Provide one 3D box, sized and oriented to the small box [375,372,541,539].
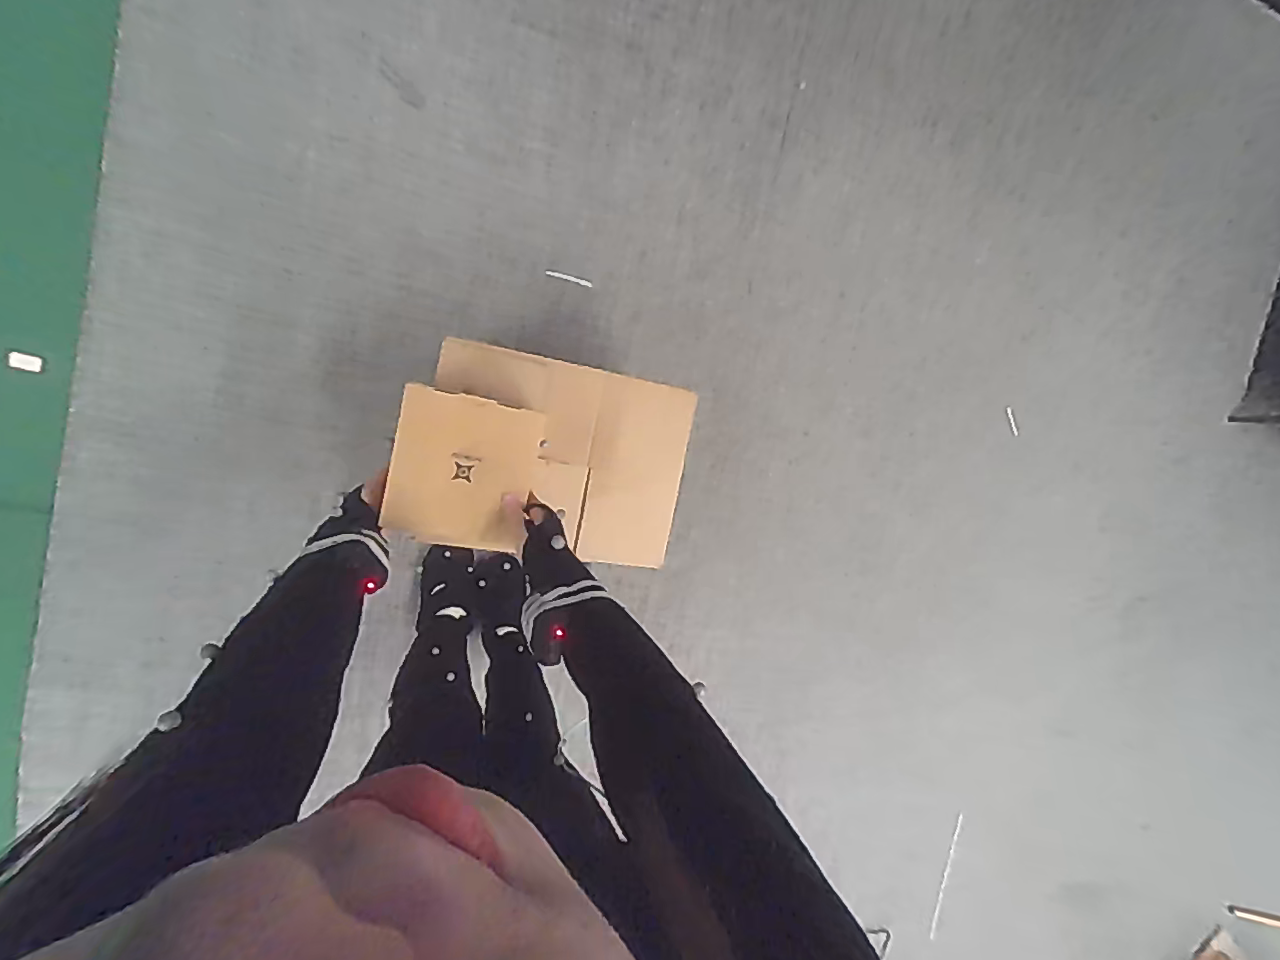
[{"bbox_3d":[-0.239,-0.037,0.729,0.168,0.176,0.179,12,95,-18],"label":"small box"}]
